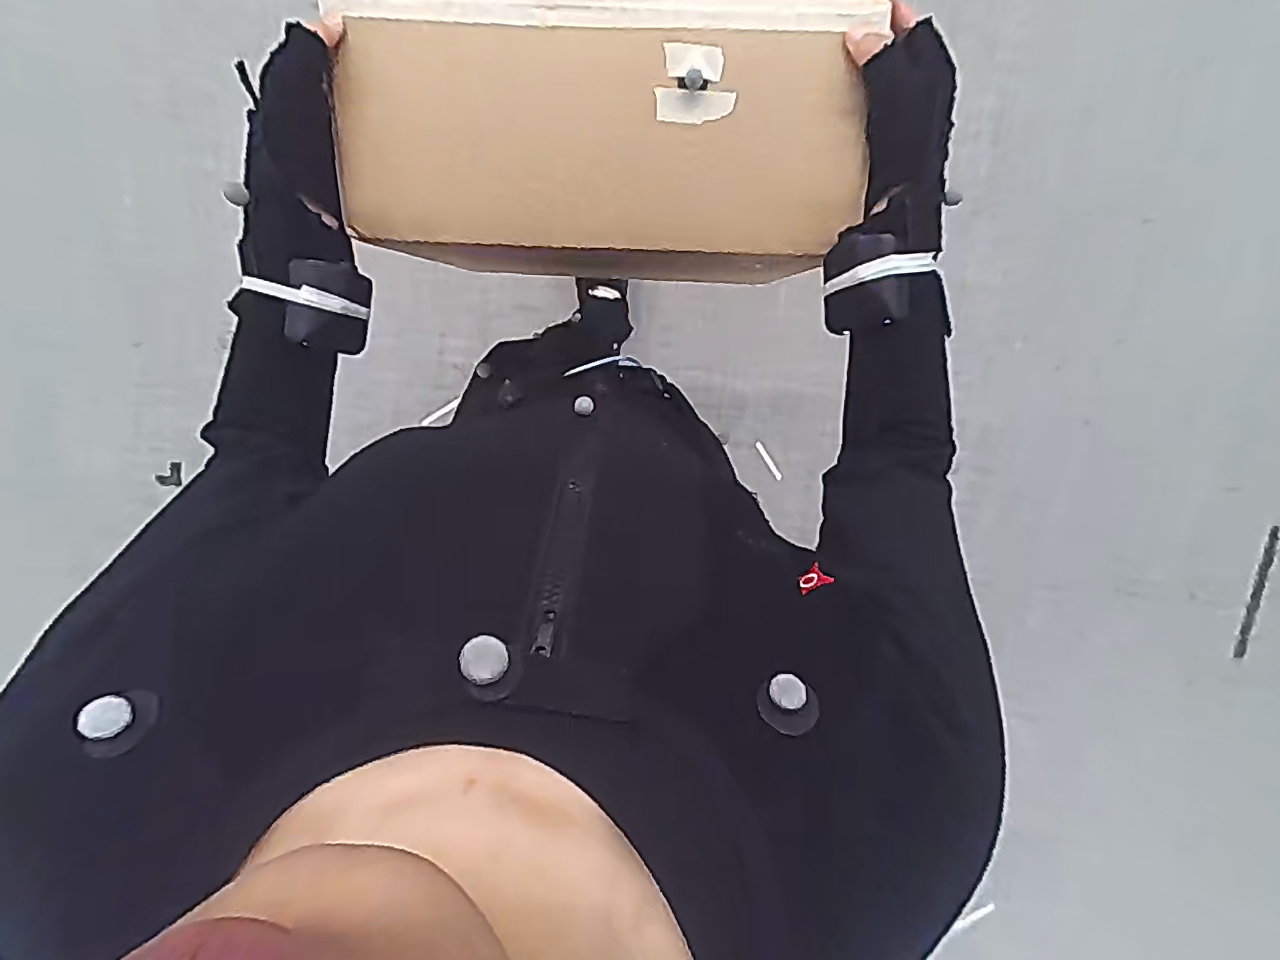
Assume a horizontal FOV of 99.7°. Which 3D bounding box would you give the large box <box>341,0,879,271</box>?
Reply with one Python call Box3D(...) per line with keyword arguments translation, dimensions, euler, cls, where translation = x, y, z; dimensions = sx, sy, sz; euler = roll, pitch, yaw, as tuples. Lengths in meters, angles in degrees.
Box3D(translation=(-0.024, -0.389, 0.540), dimensions=(0.408, 0.320, 0.320), euler=(2, 108, -1), cls="large box")
